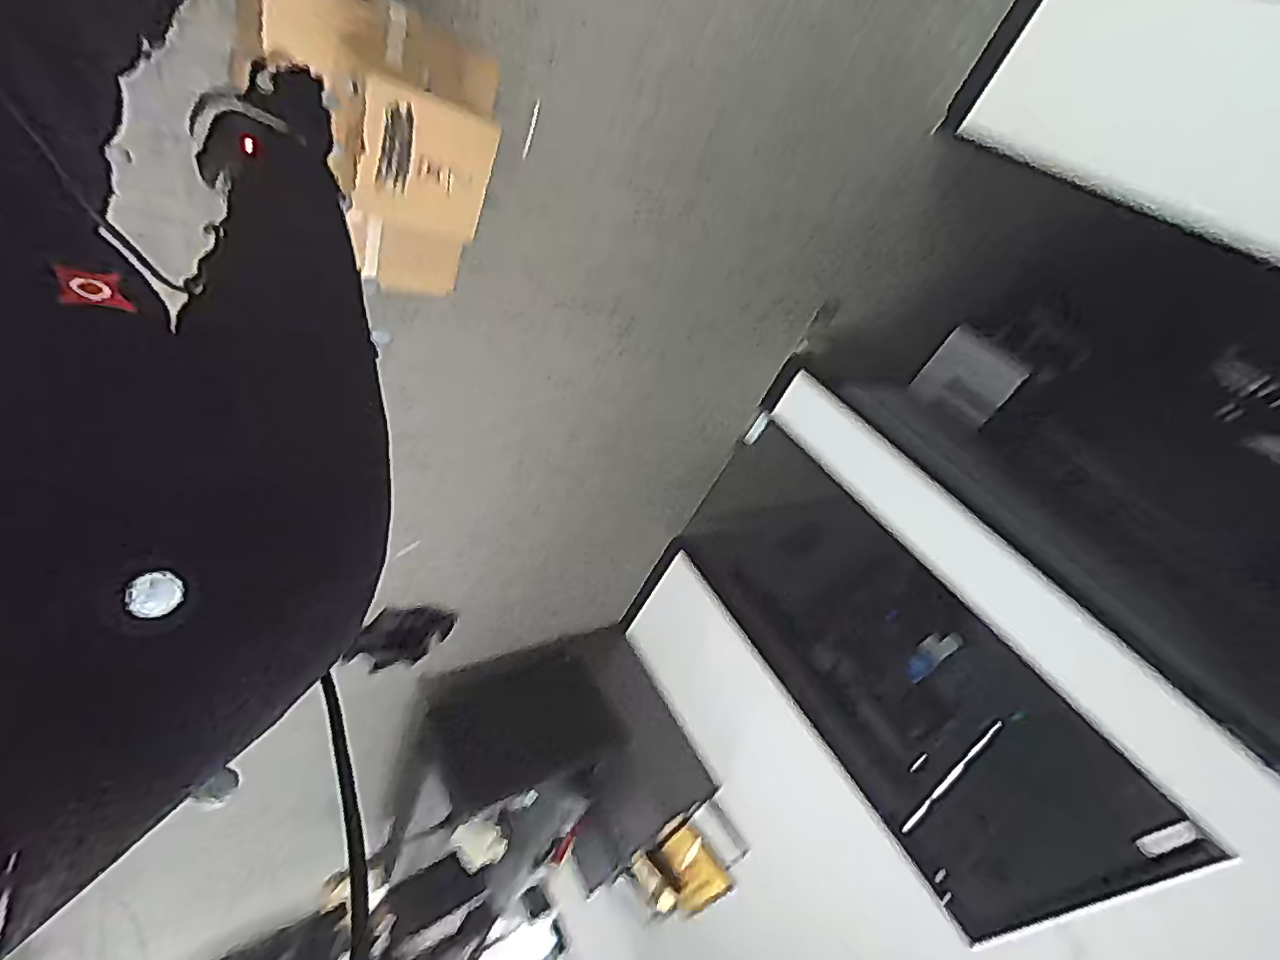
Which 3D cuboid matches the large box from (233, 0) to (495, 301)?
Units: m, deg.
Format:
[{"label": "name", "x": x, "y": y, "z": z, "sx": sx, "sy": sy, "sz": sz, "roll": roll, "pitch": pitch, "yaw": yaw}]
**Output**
[{"label": "large box", "x": -0.494, "y": -0.587, "z": 0.939, "sx": 0.320, "sy": 0.320, "sz": 0.408, "roll": -5, "pitch": 137, "yaw": -40}]
